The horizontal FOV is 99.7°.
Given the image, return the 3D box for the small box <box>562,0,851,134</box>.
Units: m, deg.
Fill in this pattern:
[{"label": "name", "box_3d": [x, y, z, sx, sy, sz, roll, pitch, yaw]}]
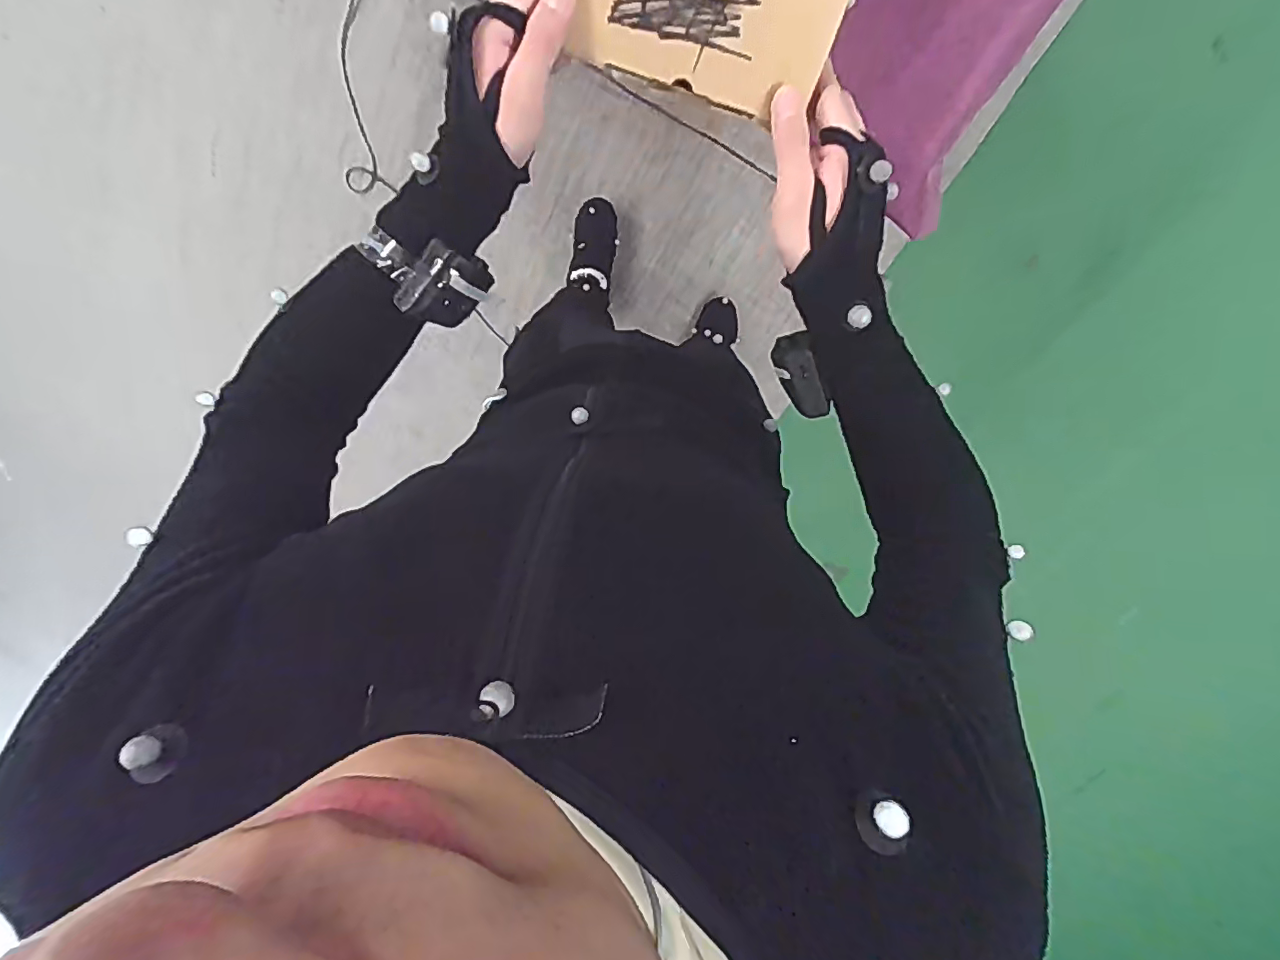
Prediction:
[{"label": "small box", "box_3d": [0.056, -0.365, 0.359, 0.168, 0.176, 0.179, 14, 129, -8]}]
